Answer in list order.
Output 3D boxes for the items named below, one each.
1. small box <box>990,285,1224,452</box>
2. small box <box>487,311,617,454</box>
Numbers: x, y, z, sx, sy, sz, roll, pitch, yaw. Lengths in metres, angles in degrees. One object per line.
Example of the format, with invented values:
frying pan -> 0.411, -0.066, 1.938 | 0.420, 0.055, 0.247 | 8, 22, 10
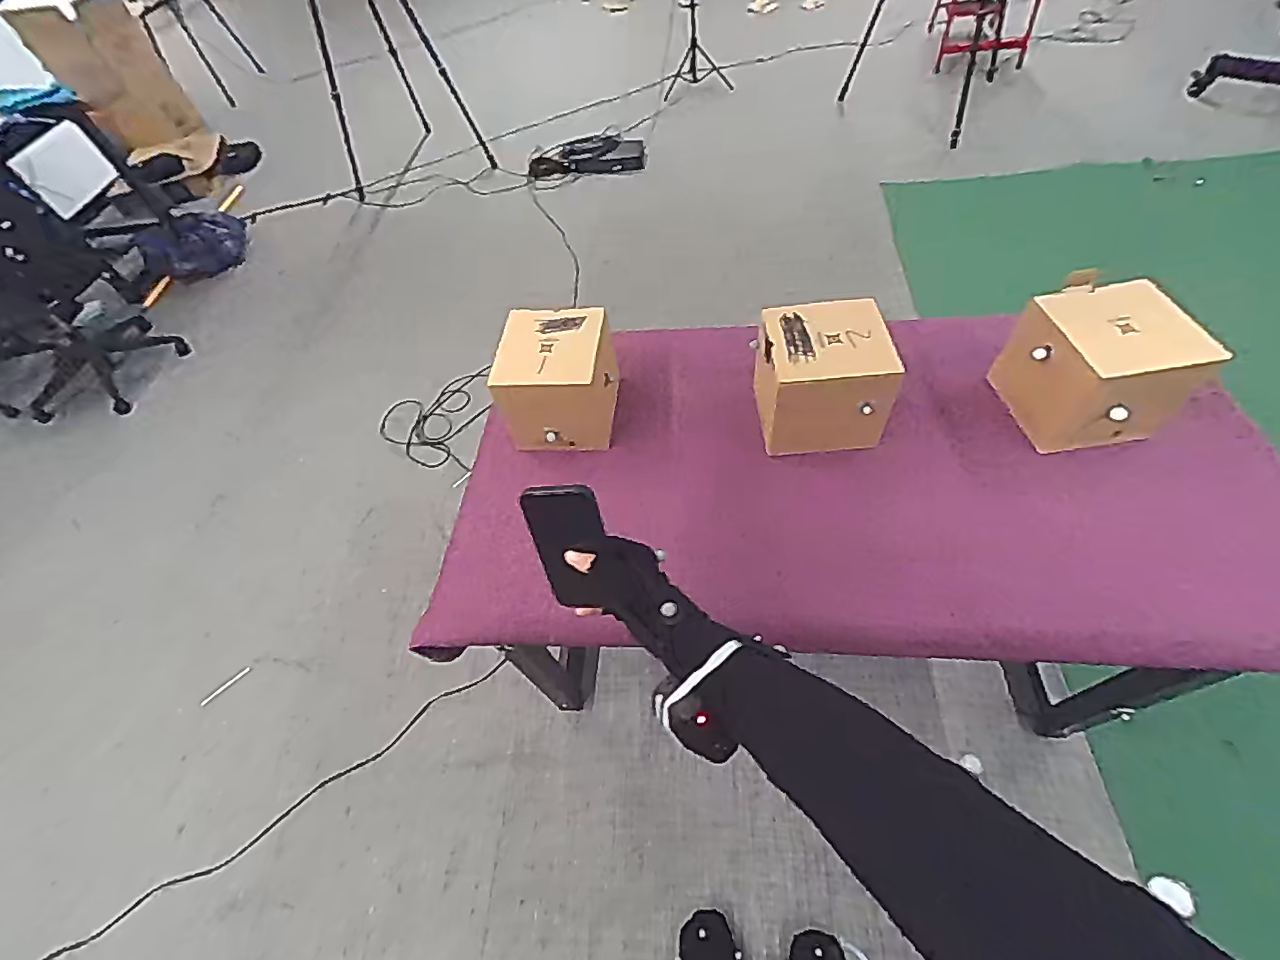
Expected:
small box -> 0.670, -0.157, 0.806 | 0.168, 0.176, 0.179 | -9, 54, 2
small box -> -0.136, -0.165, 0.918 | 0.168, 0.176, 0.179 | 1, 57, 8
